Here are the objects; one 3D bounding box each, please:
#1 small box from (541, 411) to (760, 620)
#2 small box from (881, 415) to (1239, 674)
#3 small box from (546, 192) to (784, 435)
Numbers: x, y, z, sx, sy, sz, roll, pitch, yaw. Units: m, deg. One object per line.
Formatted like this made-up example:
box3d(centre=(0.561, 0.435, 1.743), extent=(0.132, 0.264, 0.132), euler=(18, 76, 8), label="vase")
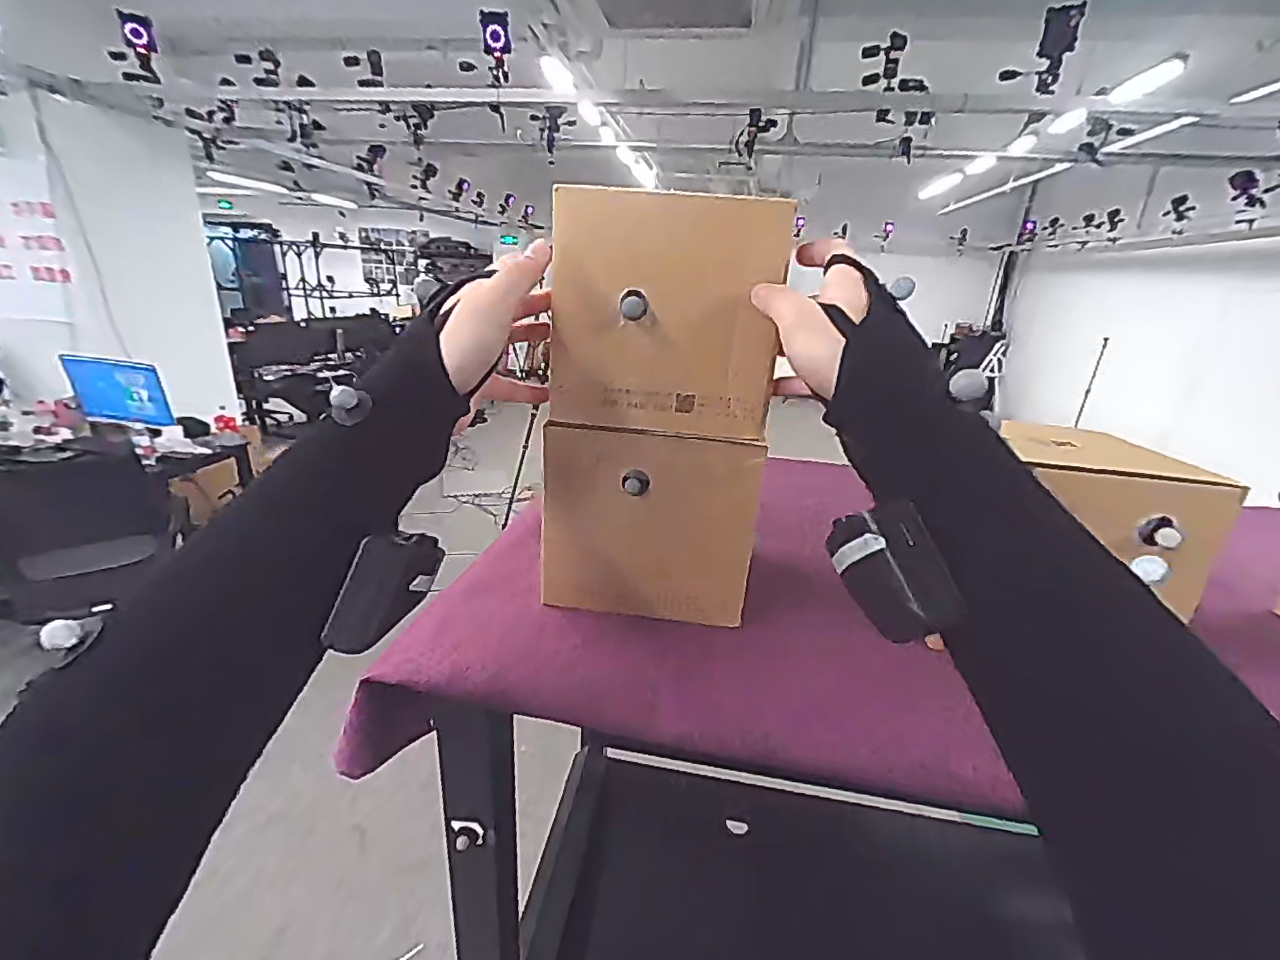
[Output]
box3d(centre=(0.010, 0.015, 0.517), extent=(0.179, 0.176, 0.168), euler=(6, 20, 5), label="small box")
box3d(centre=(0.339, 0.048, 0.484), extent=(0.179, 0.176, 0.168), euler=(6, 18, 9), label="small box")
box3d(centre=(0.021, -0.139, 0.469), extent=(0.168, 0.176, 0.179), euler=(5, 19, 4), label="small box")
